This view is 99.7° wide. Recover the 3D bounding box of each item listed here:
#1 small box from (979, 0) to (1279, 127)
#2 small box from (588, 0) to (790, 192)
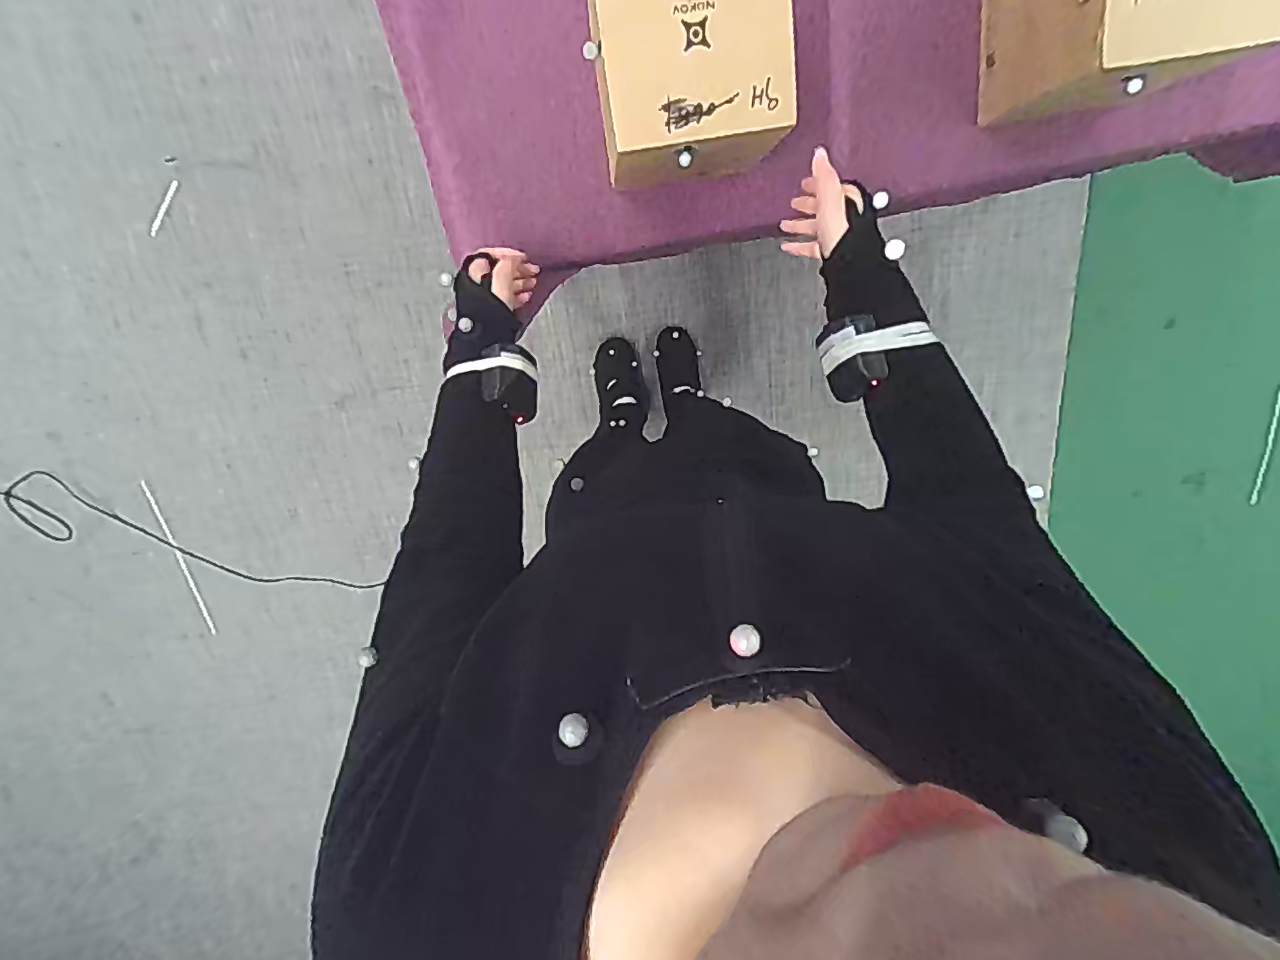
[{"bbox_3d":[0.471,-0.476,0.535,0.179,0.176,0.168,-10,109,-1],"label":"small box"},{"bbox_3d":[0.039,-0.406,0.533,0.168,0.176,0.179,-8,108,-1],"label":"small box"}]
